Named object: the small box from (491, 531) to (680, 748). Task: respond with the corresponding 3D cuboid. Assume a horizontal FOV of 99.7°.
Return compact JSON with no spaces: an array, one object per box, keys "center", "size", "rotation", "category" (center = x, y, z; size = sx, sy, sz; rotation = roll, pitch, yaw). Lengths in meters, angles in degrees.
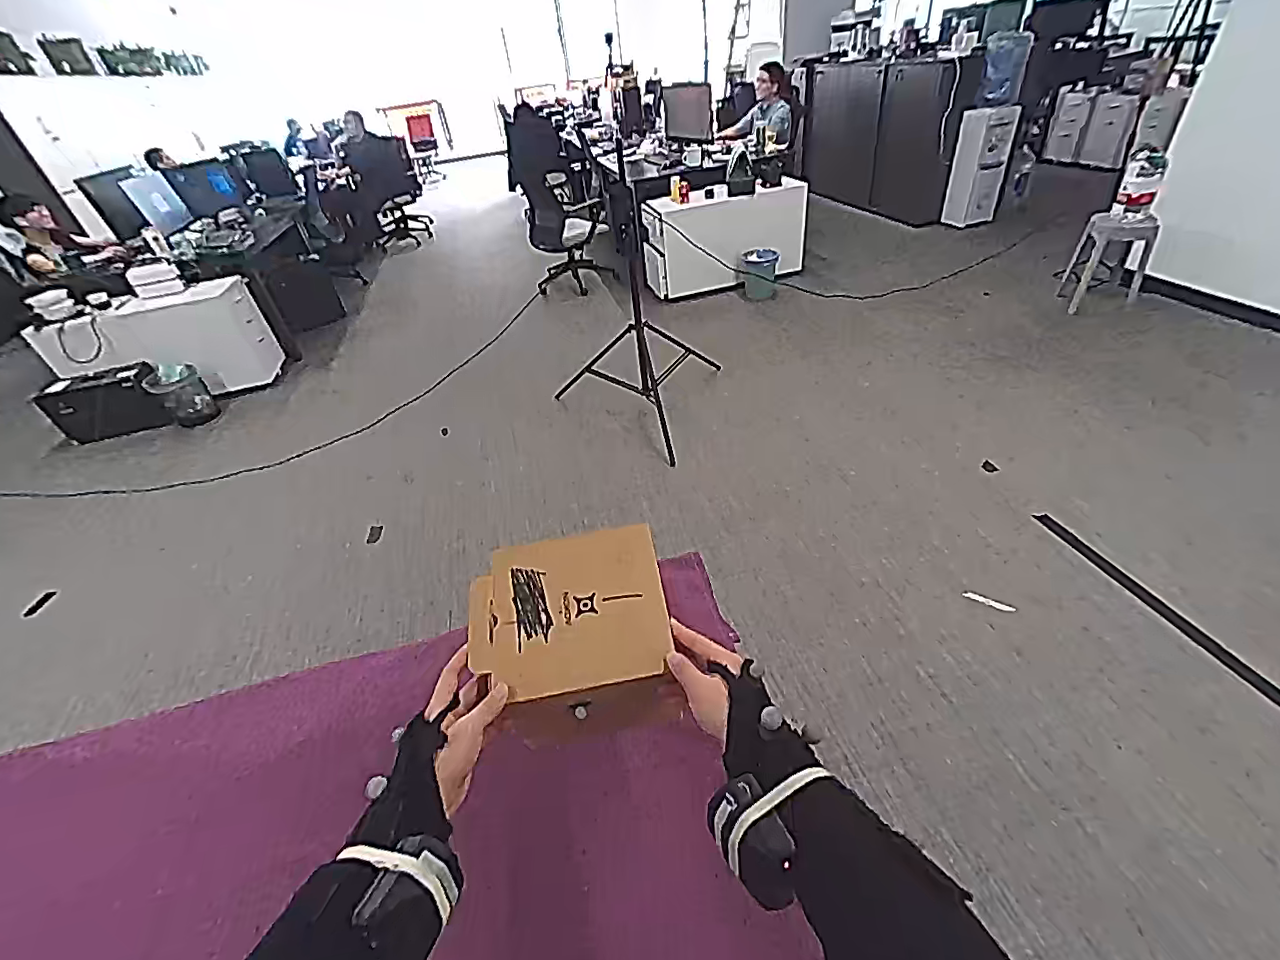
[{"center":[-0.056,0.182,0.602],"size":[0.179,0.176,0.168],"rotation":[-10,52,-3],"category":"small box"}]
